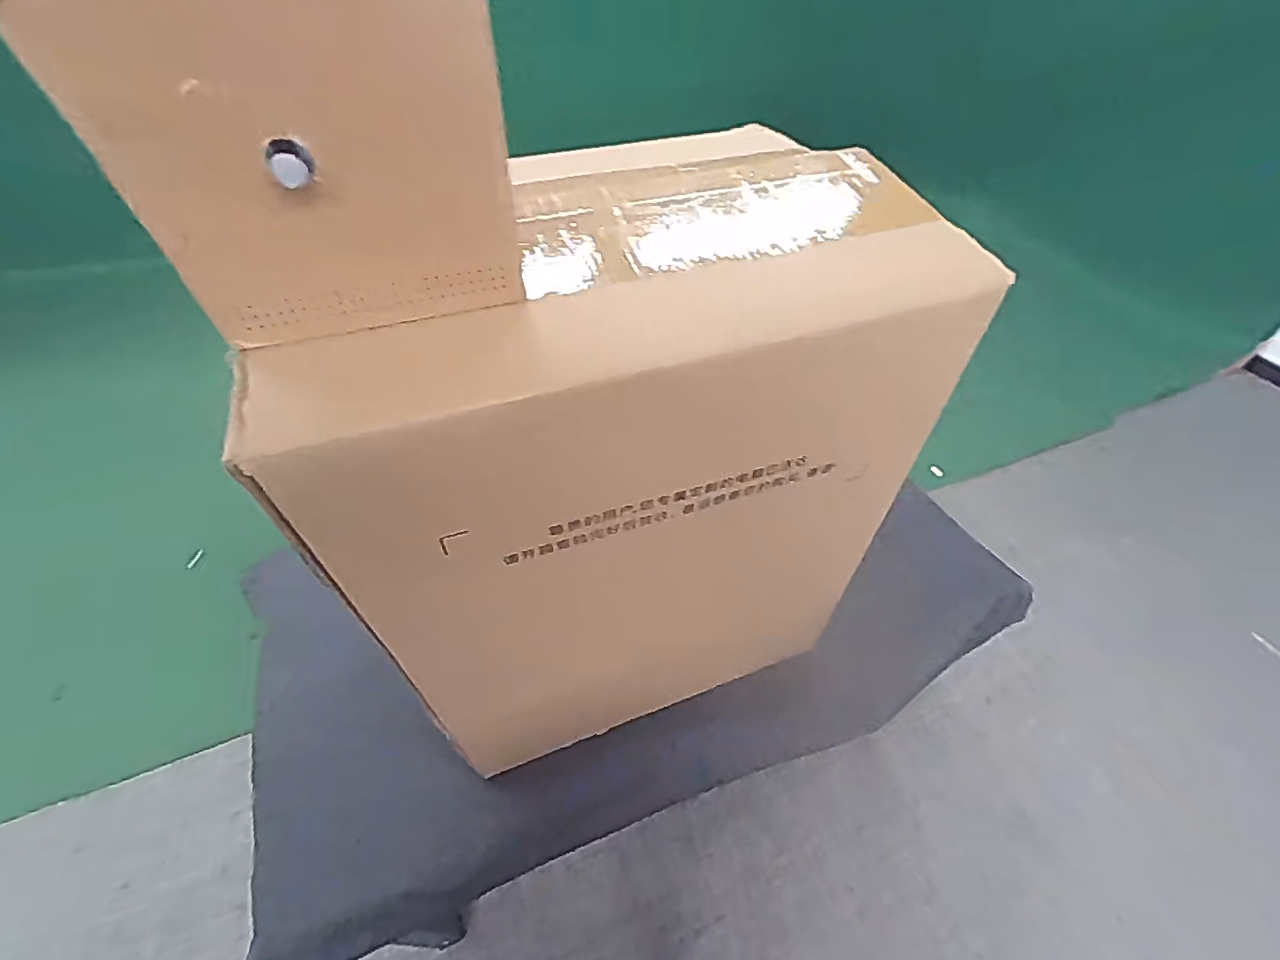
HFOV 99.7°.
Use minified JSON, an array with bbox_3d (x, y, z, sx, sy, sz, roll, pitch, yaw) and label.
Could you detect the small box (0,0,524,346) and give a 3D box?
[{"bbox_3d":[-0.180,-0.201,0.315,0.179,0.176,0.168,-16,58,-13],"label":"small box"}]
